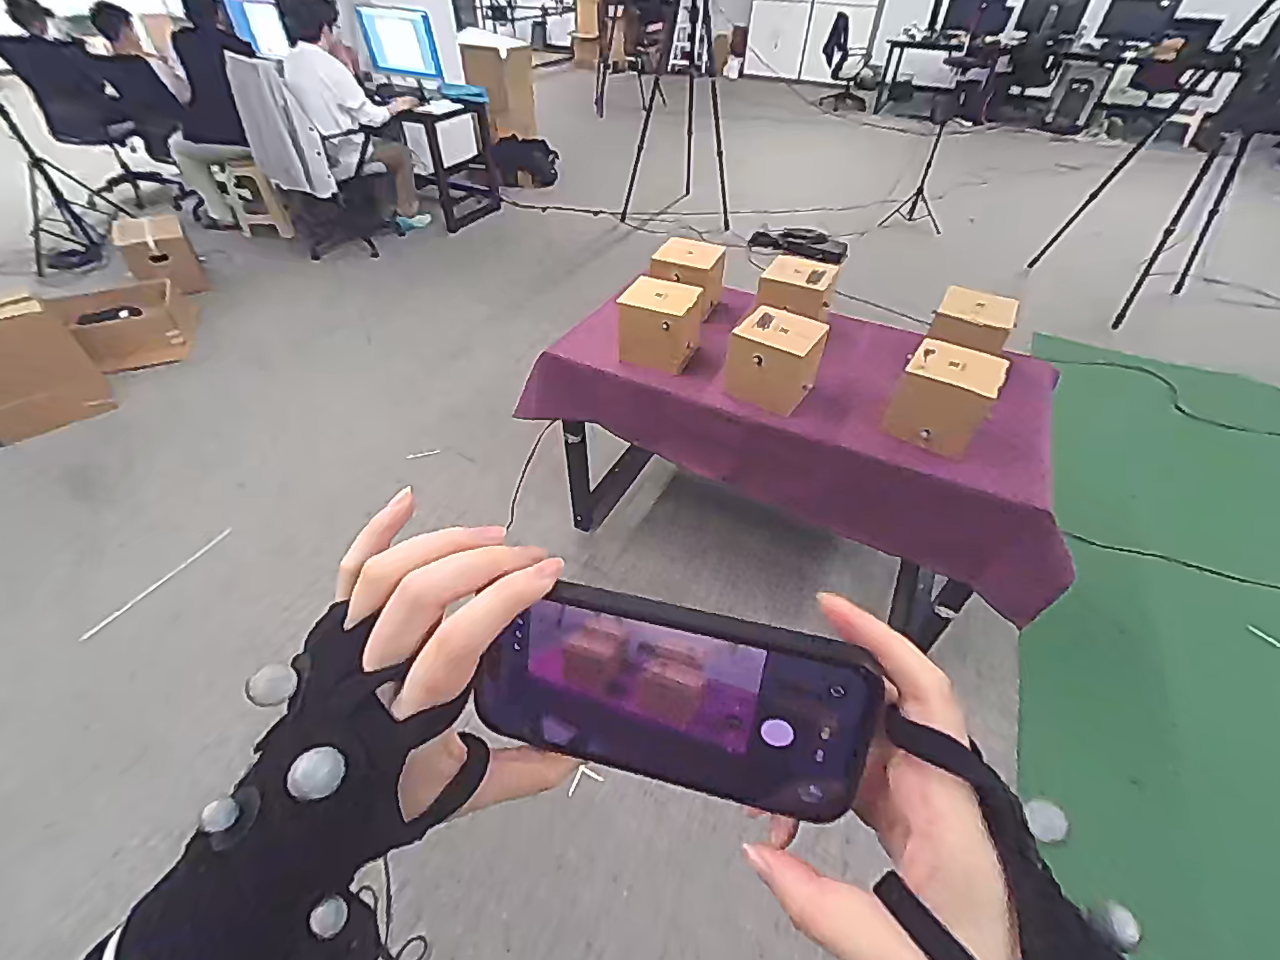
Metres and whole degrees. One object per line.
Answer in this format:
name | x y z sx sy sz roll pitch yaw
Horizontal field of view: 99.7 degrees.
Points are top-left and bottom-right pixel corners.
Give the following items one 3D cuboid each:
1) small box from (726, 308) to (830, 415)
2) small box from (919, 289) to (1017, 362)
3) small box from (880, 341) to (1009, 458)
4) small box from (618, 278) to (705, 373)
small box | 0.321 -0.280 1.286 0.179 0.176 0.168 27 50 22
small box | 0.826 -0.358 1.379 0.168 0.176 0.179 24 50 22
small box | 0.662 -0.172 1.187 0.179 0.176 0.168 27 50 23
small box | 0.053 -0.397 1.397 0.179 0.176 0.168 18 46 14
